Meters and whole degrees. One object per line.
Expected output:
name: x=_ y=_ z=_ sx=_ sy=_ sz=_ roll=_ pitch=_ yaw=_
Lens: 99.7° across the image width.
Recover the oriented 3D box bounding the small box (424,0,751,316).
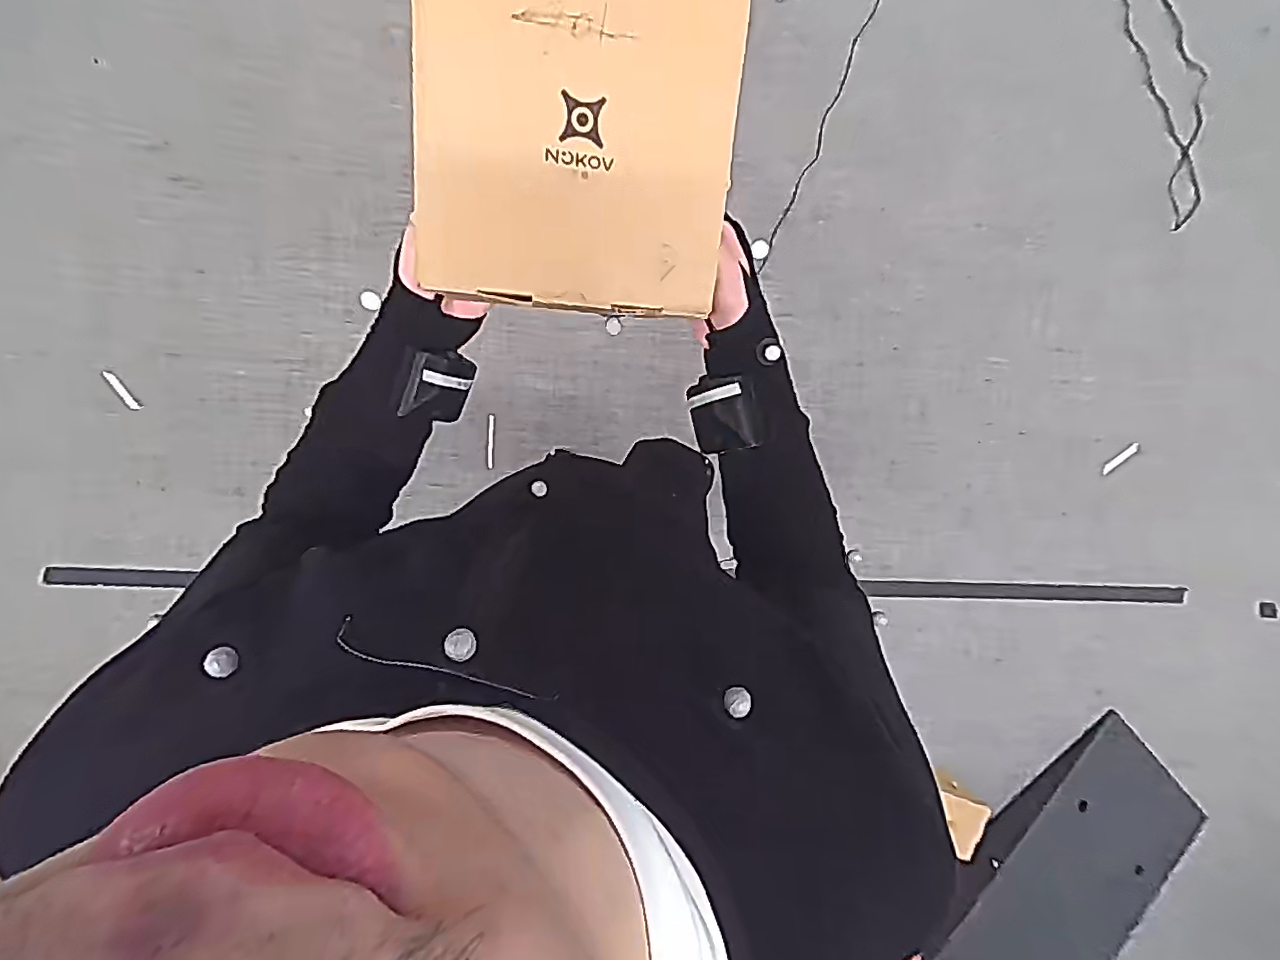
small box: x=-0.045 y=-0.209 z=0.363 sx=0.168 sy=0.176 sz=0.179 roll=2 pitch=106 yaw=-14
